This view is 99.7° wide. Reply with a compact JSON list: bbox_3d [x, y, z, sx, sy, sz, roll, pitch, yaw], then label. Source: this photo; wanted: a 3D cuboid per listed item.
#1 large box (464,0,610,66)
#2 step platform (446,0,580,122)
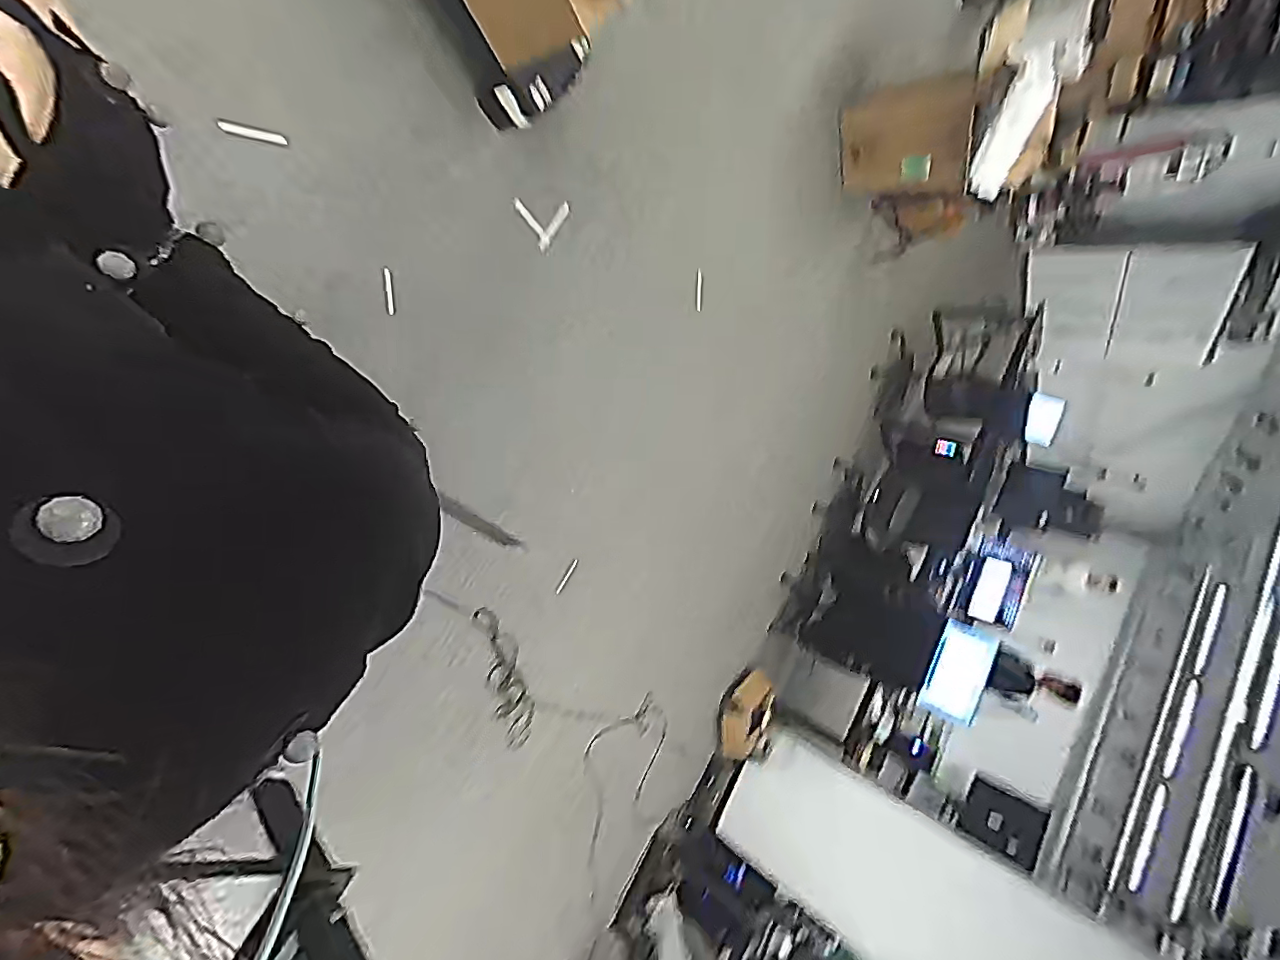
[{"bbox_3d":[-0.237,-1.172,1.090,0.320,0.320,0.408,-58,137,-15],"label":"large box"},{"bbox_3d":[-0.424,-1.233,1.227,0.286,0.204,0.684,-56,137,-17],"label":"step platform"}]
